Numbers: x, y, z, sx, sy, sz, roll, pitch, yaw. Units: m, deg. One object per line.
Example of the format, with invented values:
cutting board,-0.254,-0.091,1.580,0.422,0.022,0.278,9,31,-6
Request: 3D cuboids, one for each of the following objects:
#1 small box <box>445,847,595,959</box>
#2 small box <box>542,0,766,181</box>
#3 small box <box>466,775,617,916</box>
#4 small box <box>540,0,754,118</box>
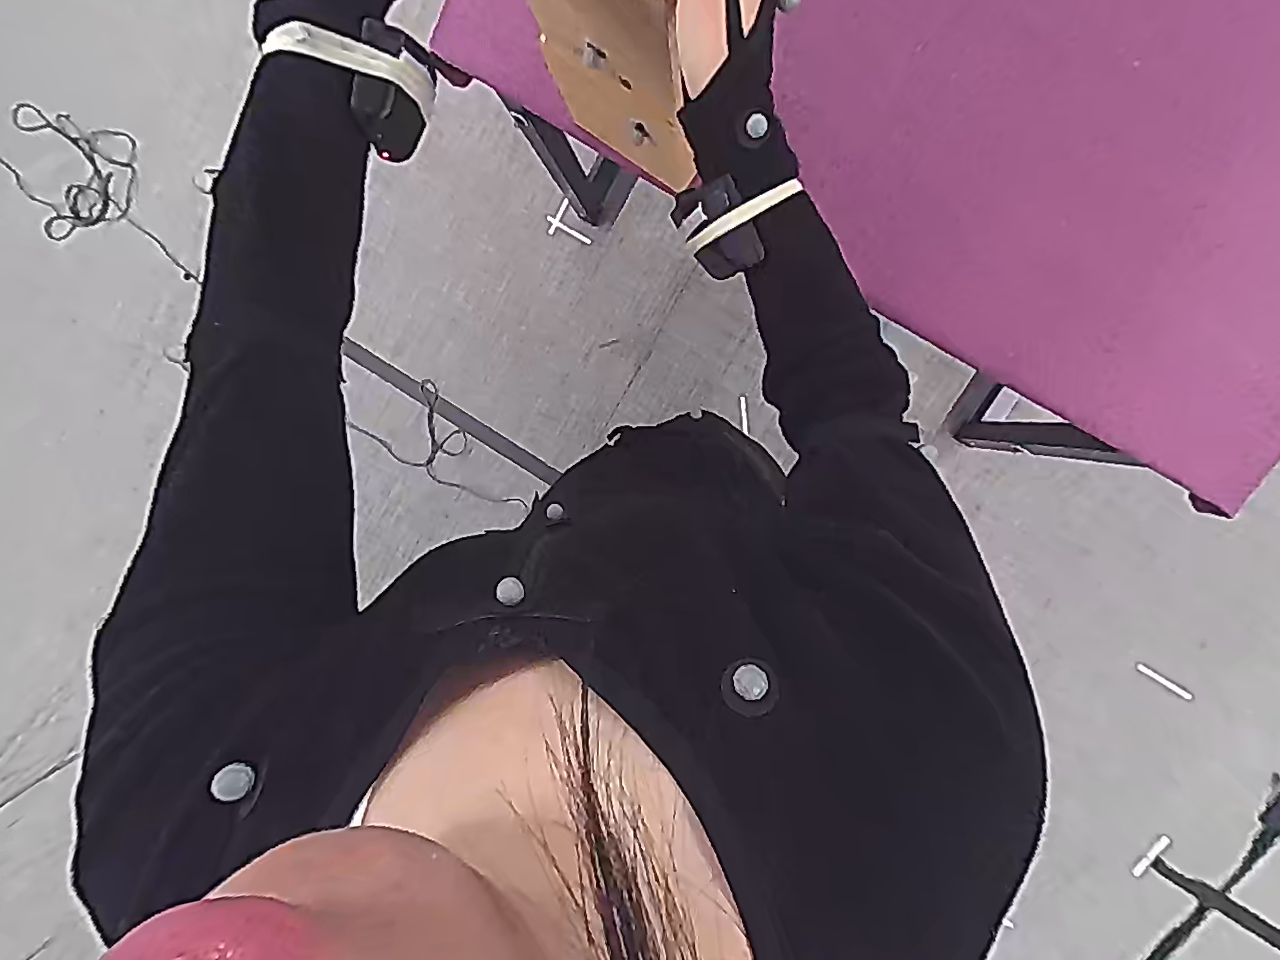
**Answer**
small box,-0.177,0.676,0.761,0.168,0.176,0.179,31,100,3
small box,0.023,-0.478,0.617,0.179,0.176,0.168,36,100,2
small box,-0.157,0.658,0.922,0.168,0.176,0.179,33,101,3
small box,0.010,-0.463,0.454,0.168,0.176,0.179,35,101,2
